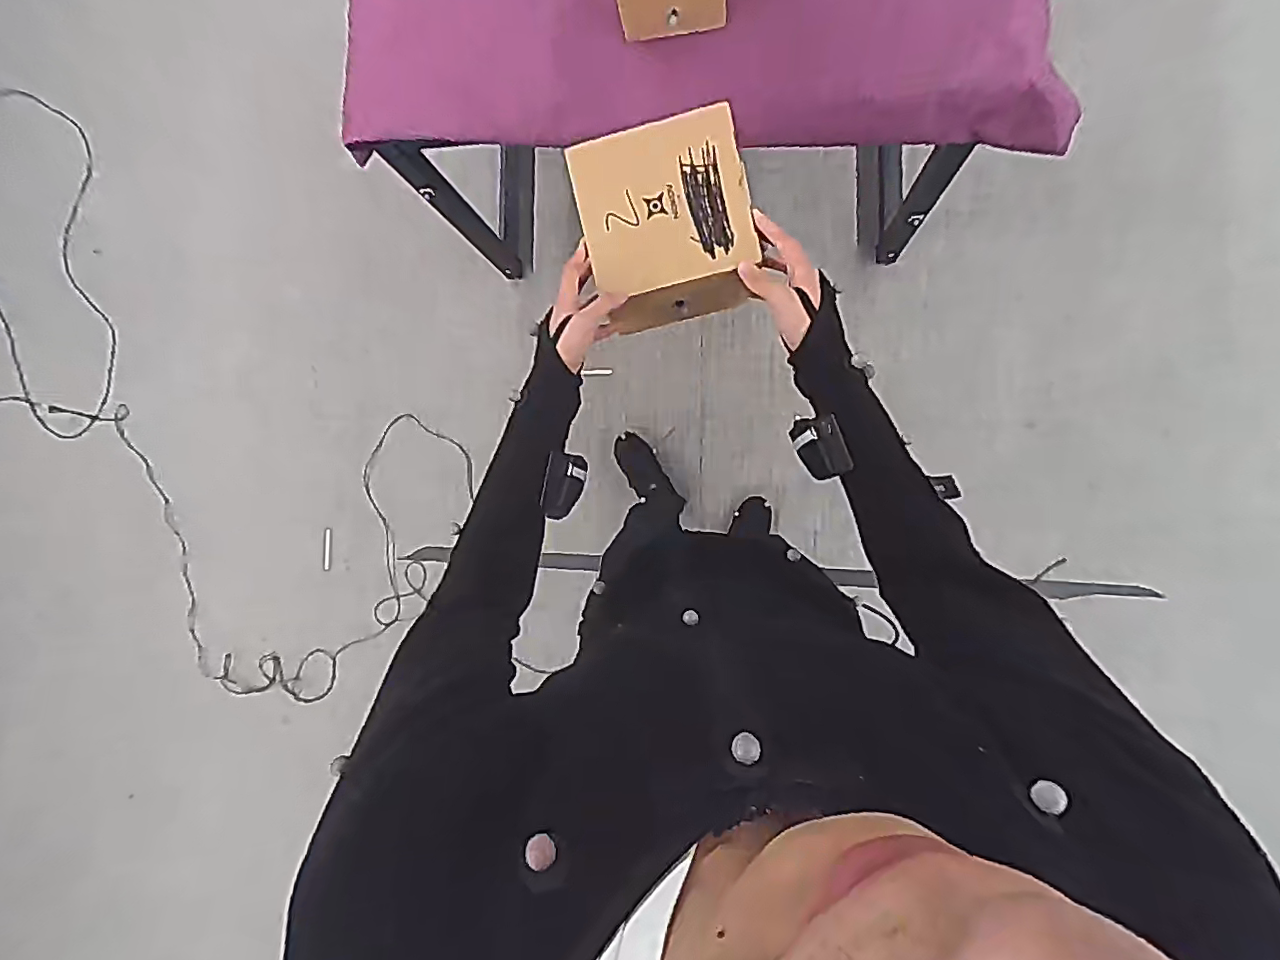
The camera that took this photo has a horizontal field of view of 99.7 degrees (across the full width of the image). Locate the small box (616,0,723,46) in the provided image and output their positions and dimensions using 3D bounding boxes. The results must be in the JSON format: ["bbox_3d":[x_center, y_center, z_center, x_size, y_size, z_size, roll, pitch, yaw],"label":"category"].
[{"bbox_3d":[0.047,-0.847,0.866,0.179,0.176,0.168,-2,87,8],"label":"small box"}]
